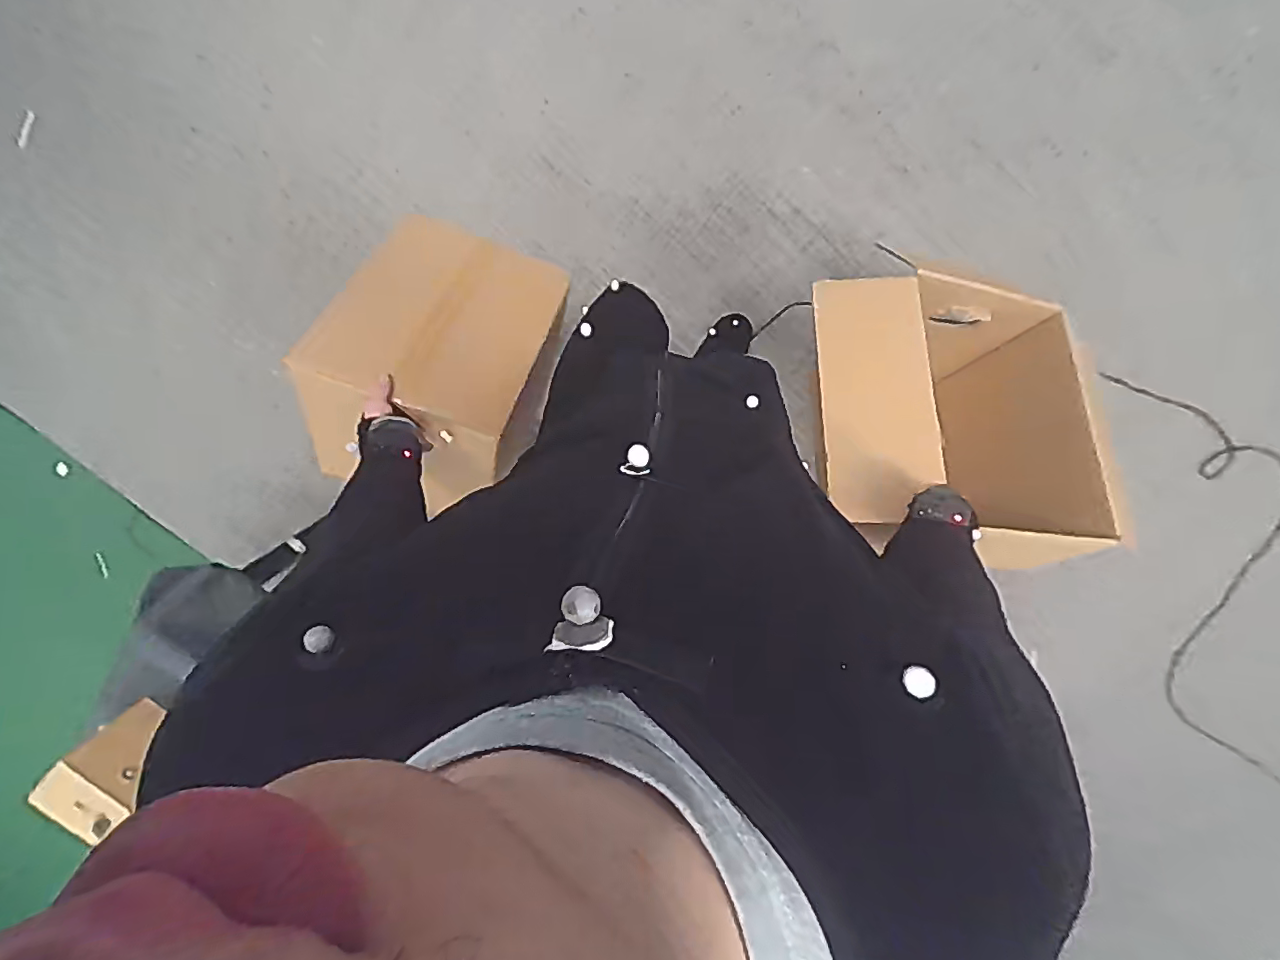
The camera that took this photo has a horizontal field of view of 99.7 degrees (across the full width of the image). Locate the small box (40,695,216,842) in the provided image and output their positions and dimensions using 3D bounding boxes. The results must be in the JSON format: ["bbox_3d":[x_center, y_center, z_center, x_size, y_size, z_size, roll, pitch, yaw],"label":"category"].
[{"bbox_3d":[-1.030,0.582,1.104,0.168,0.176,0.179,-40,100,19],"label":"small box"}]
